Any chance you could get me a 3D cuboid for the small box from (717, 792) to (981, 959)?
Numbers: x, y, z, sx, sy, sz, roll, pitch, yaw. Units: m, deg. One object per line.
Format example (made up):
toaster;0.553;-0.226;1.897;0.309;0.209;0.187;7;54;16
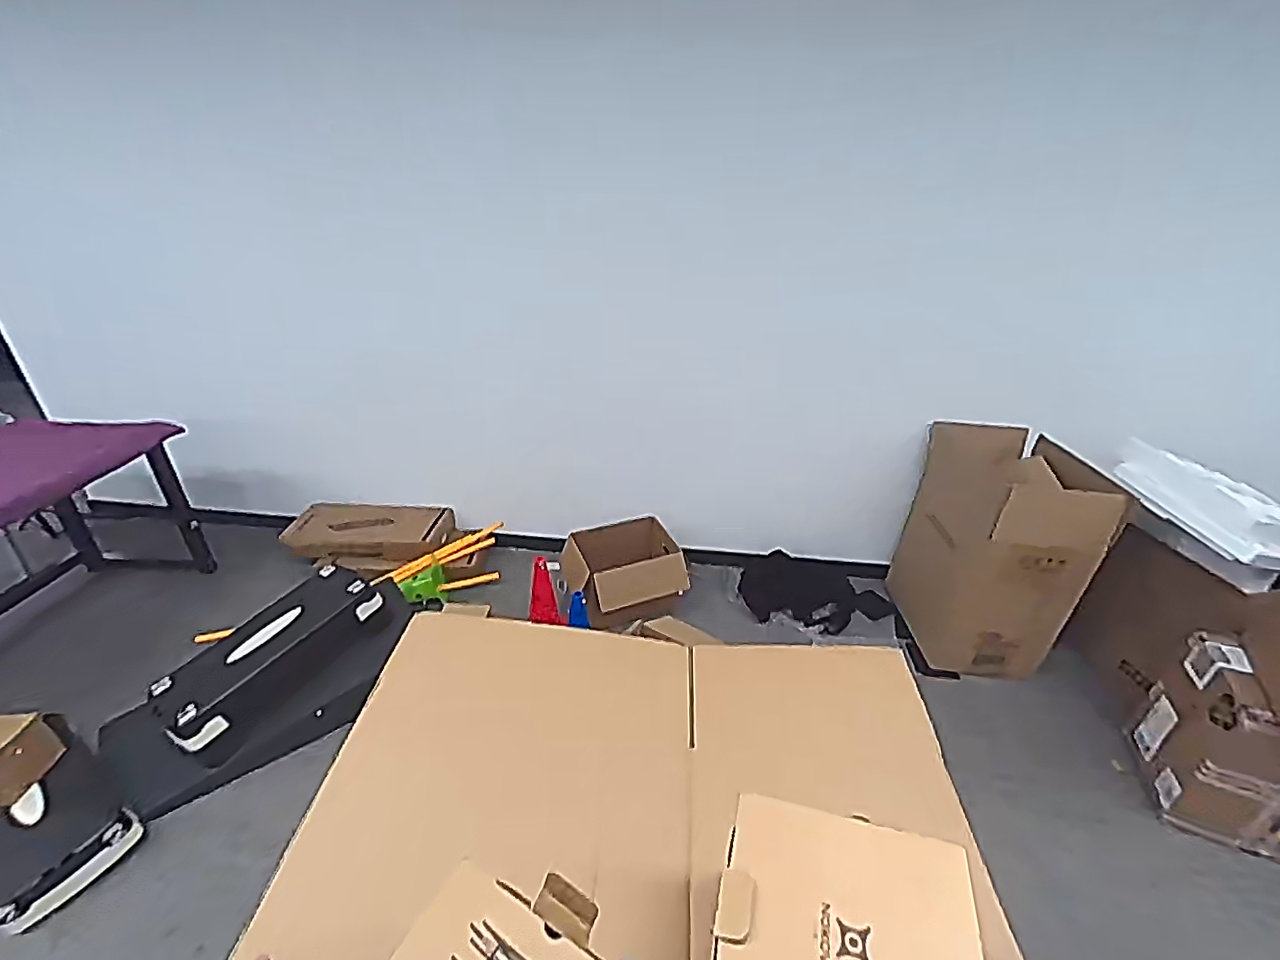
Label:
small box;0.154;0.392;0.430;0.179;0.176;0.168;5;35;17
